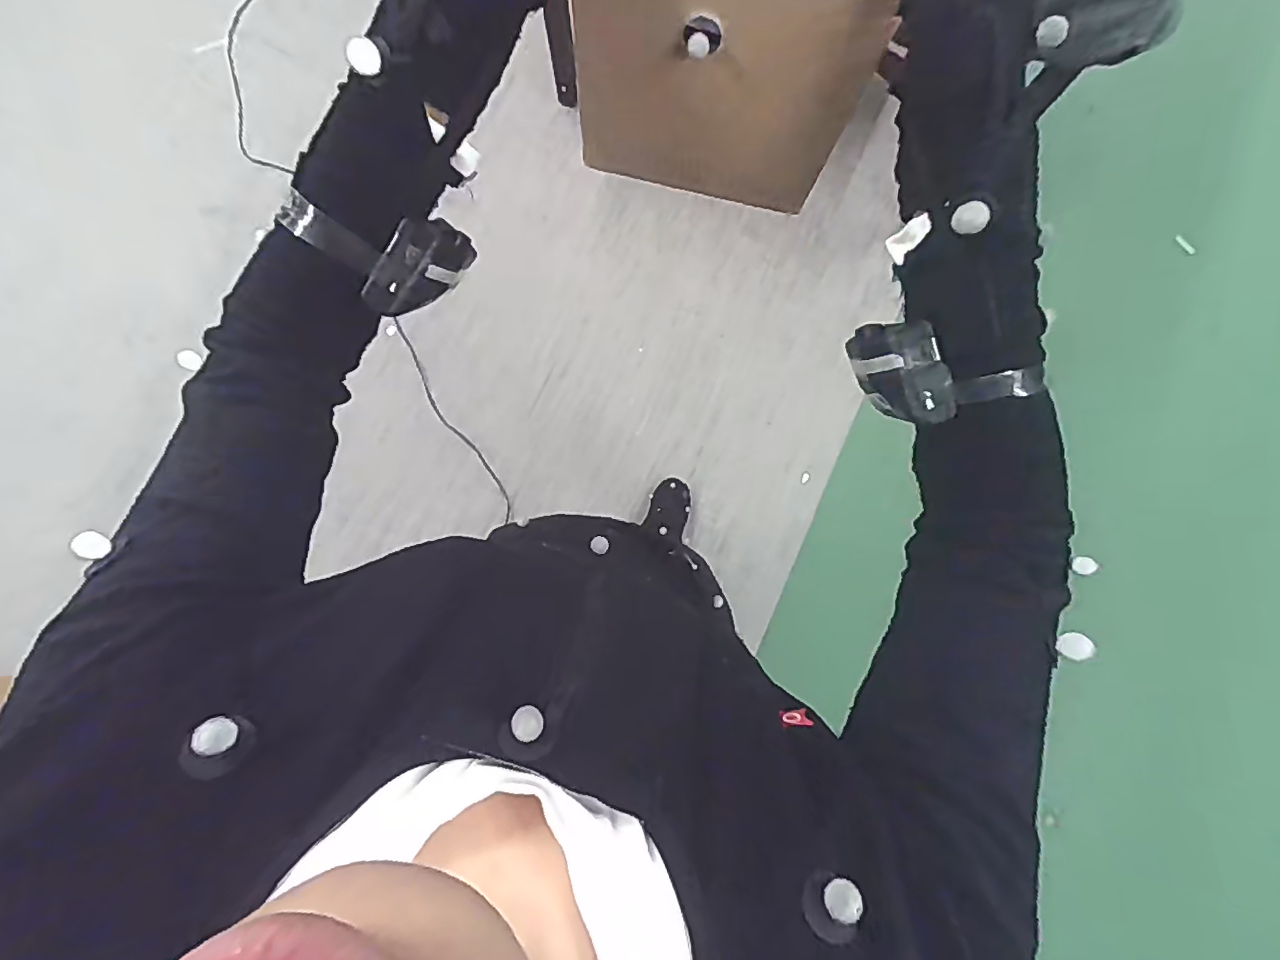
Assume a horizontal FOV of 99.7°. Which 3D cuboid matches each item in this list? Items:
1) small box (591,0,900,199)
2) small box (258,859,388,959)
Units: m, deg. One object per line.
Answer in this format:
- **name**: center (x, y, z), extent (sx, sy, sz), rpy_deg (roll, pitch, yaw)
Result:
- **small box**: center (0.066, -0.324, 0.362), extent (0.179, 0.176, 0.168), rpy_deg (13, 80, -1)
- **small box**: center (-0.710, 1.006, 1.224), extent (0.179, 0.176, 0.168), rpy_deg (19, 82, 4)
